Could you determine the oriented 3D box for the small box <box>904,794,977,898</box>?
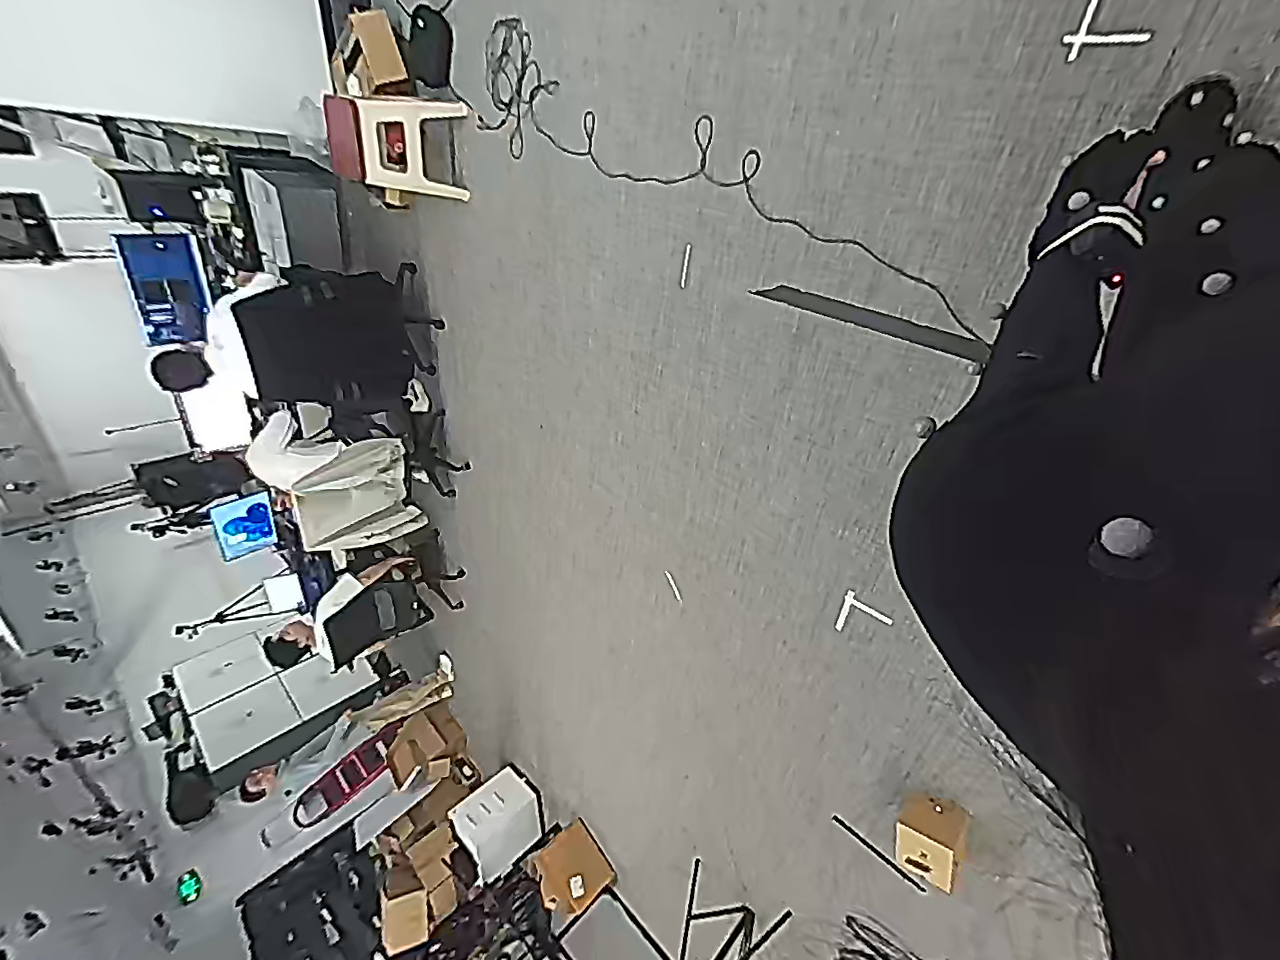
[{"bbox_3d":[0.963,1.163,1.731,0.168,0.176,0.179,10,114,44],"label":"small box"}]
